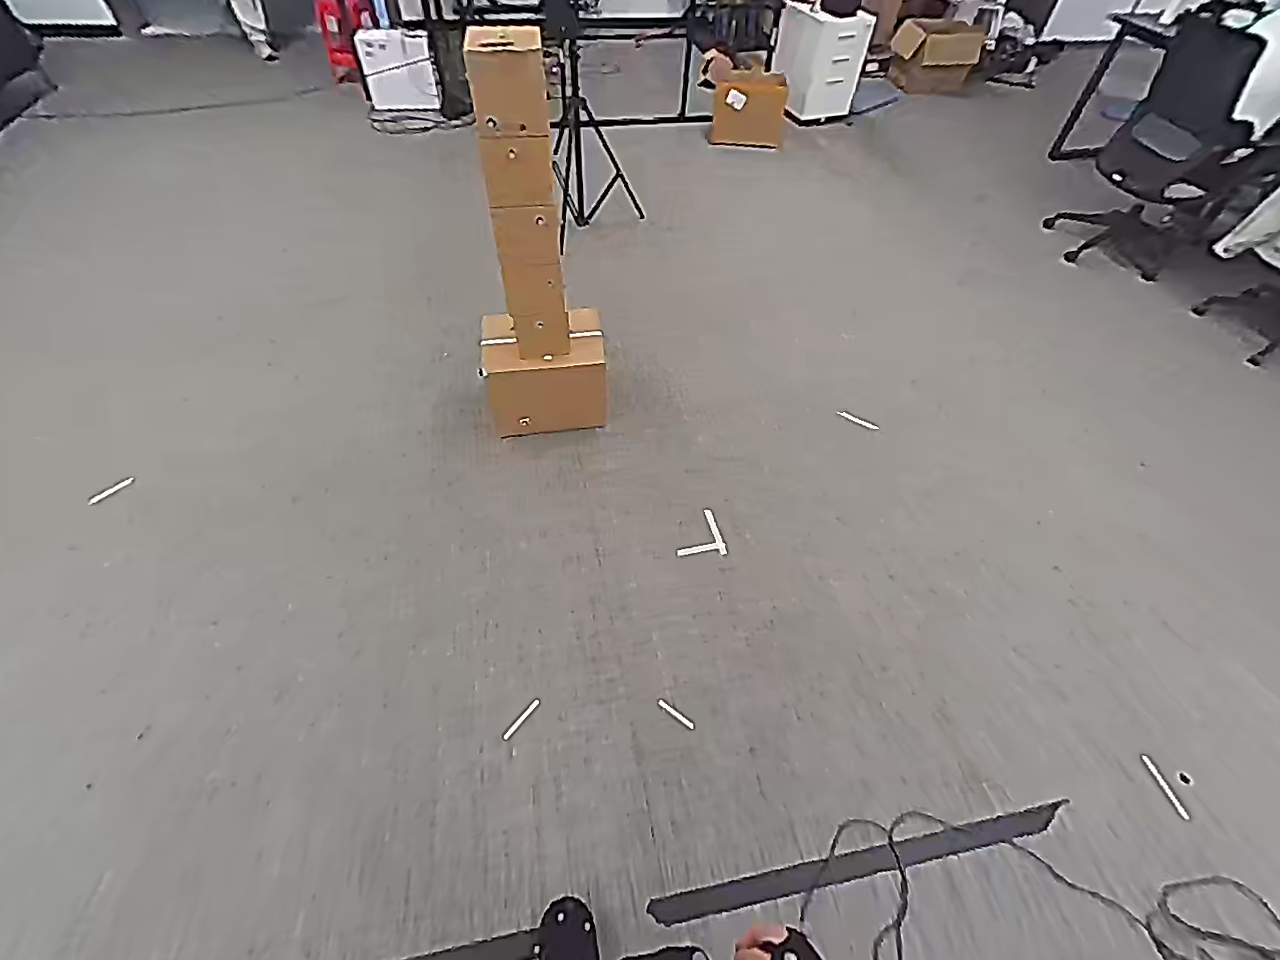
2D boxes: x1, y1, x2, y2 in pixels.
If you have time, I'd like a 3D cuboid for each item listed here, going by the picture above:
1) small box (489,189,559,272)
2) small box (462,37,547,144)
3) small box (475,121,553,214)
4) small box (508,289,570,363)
[{"bbox_3d":[-0.322,-0.706,1.524,0.179,0.176,0.168,-6,52,-7],"label":"small box"},{"bbox_3d":[-0.310,-0.909,1.268,0.168,0.176,0.179,-6,52,-6],"label":"small box"},{"bbox_3d":[-0.318,-0.807,1.396,0.179,0.176,0.168,-6,53,-6],"label":"small box"},{"bbox_3d":[-0.330,-0.503,1.781,0.179,0.176,0.168,-8,54,-10],"label":"small box"}]
